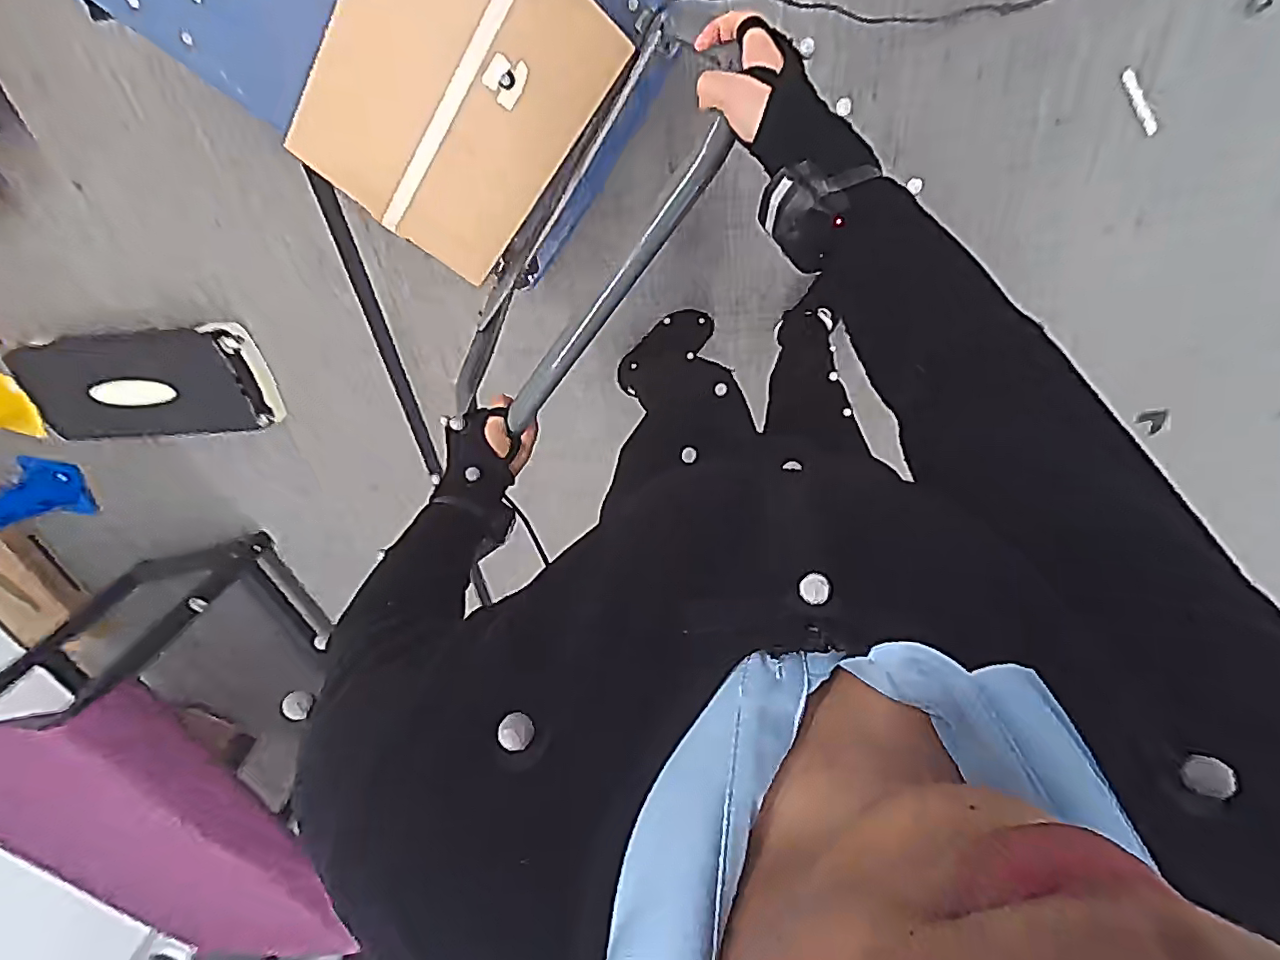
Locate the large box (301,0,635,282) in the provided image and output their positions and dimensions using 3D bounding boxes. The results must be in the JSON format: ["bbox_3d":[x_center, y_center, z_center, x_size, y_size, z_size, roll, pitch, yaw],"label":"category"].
[{"bbox_3d":[-0.246,-0.607,0.853,0.320,0.320,0.408,32,120,-24],"label":"large box"}]
